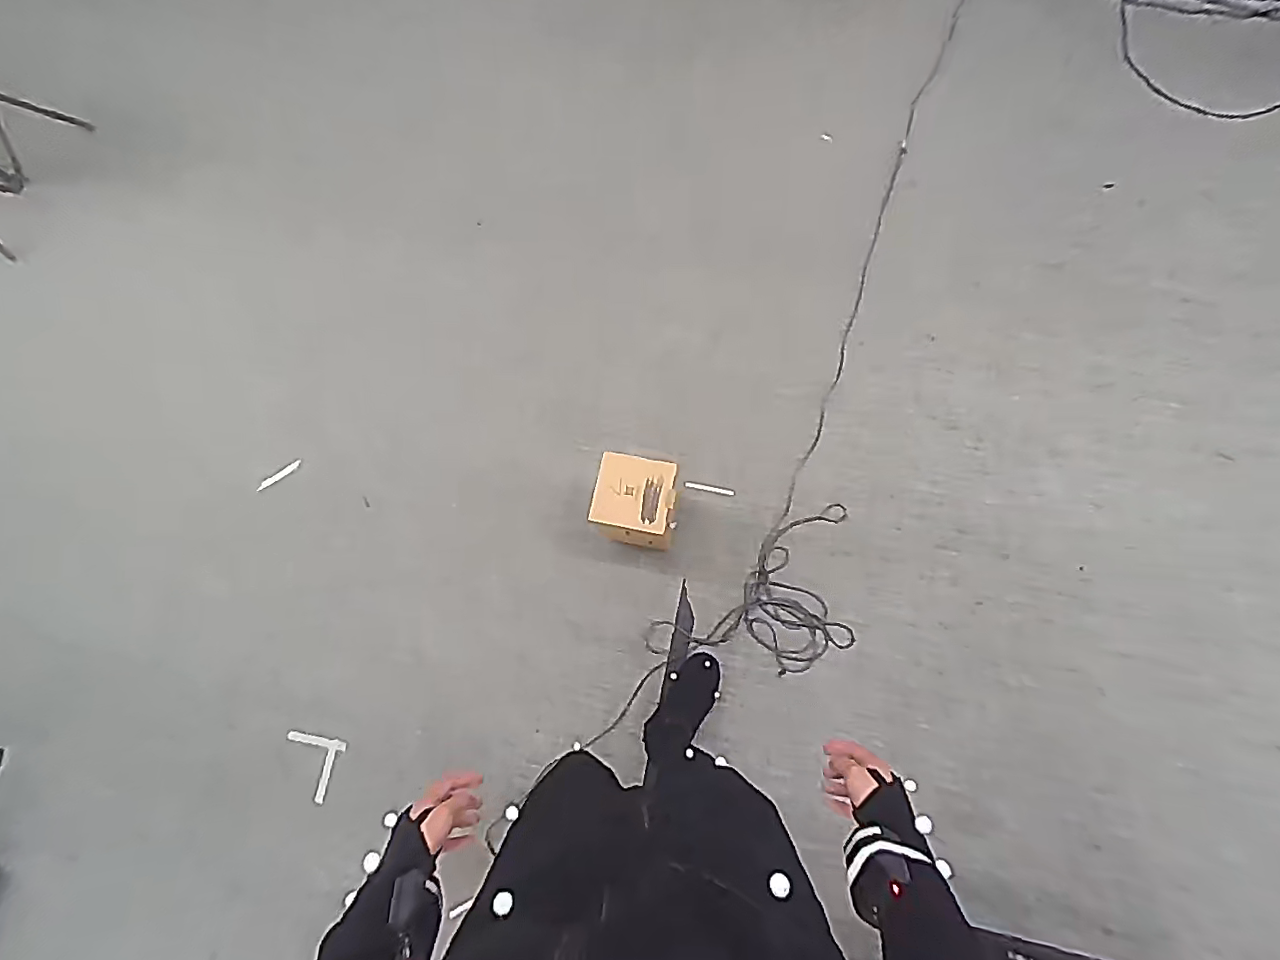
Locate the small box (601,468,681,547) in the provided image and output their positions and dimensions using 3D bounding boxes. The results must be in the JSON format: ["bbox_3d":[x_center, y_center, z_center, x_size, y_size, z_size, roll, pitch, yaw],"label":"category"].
[{"bbox_3d":[0.009,0.079,1.435,0.179,0.176,0.168,9,78,9],"label":"small box"}]
